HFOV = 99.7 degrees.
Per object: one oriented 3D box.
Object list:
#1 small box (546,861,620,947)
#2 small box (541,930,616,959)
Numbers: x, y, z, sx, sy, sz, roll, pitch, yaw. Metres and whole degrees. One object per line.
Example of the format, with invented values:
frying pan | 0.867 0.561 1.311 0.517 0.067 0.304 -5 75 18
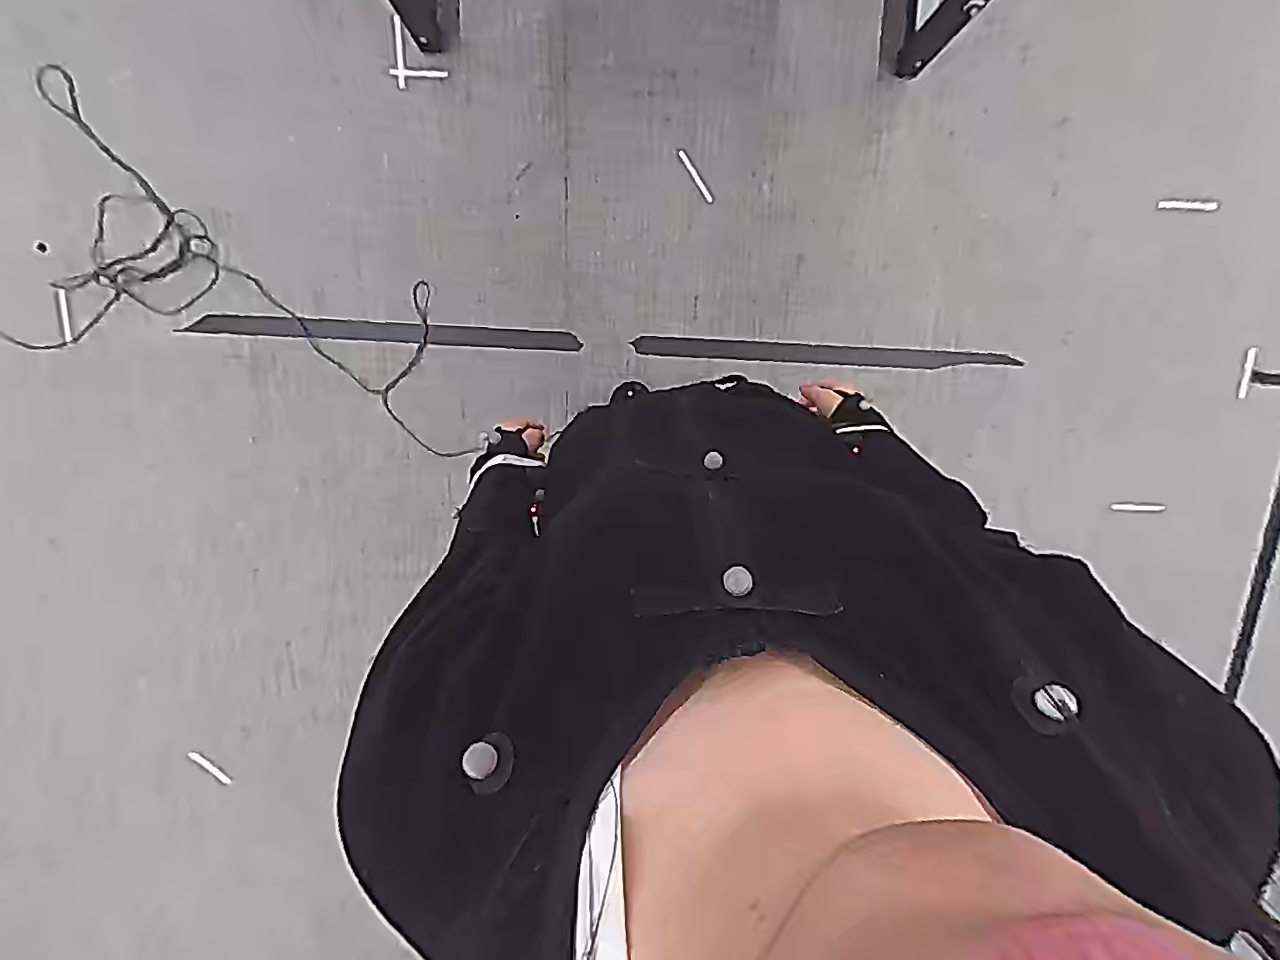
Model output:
small box | -0.141 1.075 1.318 0.168 0.176 0.179 7 102 -3
small box | -0.139 1.116 1.160 0.168 0.176 0.179 4 100 -2
